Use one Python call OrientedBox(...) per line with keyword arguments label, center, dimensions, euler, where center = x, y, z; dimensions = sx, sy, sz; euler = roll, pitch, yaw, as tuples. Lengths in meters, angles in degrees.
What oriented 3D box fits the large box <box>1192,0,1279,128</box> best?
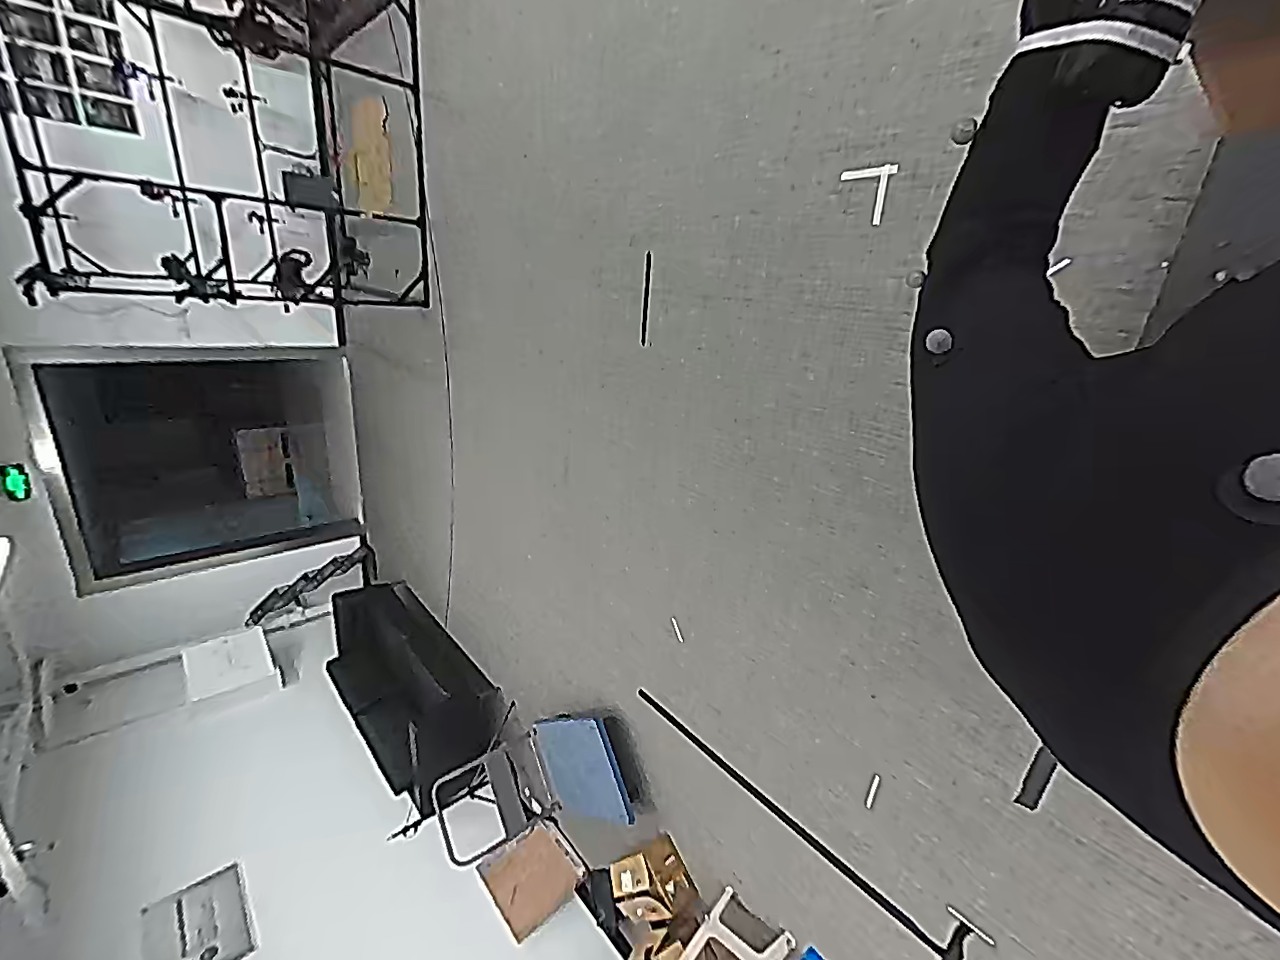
OrientedBox(label="large box", center=(0.573, -0.433, 0.246), dimensions=(0.408, 0.320, 0.320), euler=(16, 109, 49))
